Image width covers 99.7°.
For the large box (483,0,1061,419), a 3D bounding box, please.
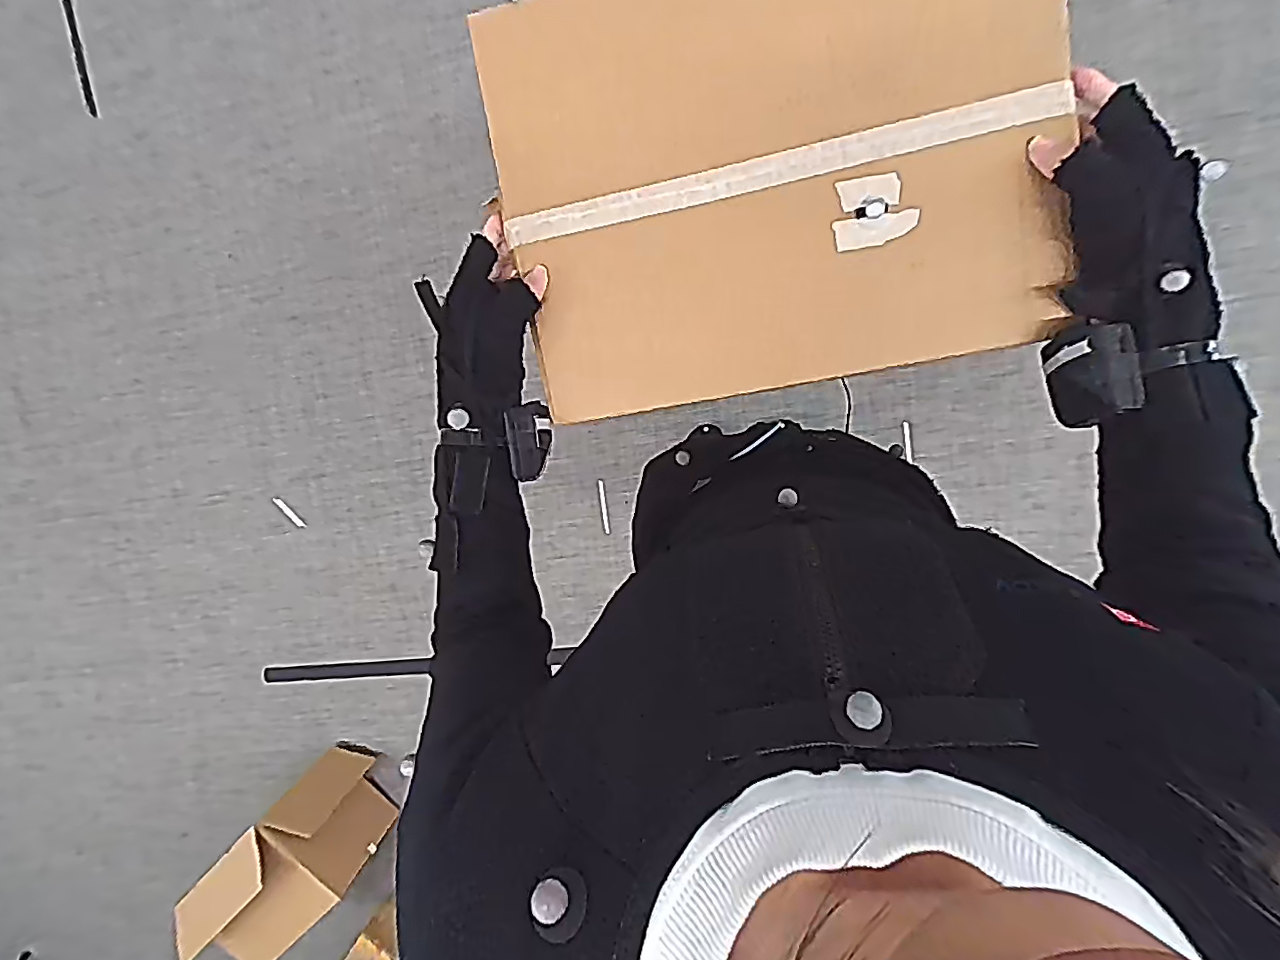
[{"bbox_3d":[0.113,-0.257,0.559,0.408,0.320,0.320,-9,99,9],"label":"large box"}]
